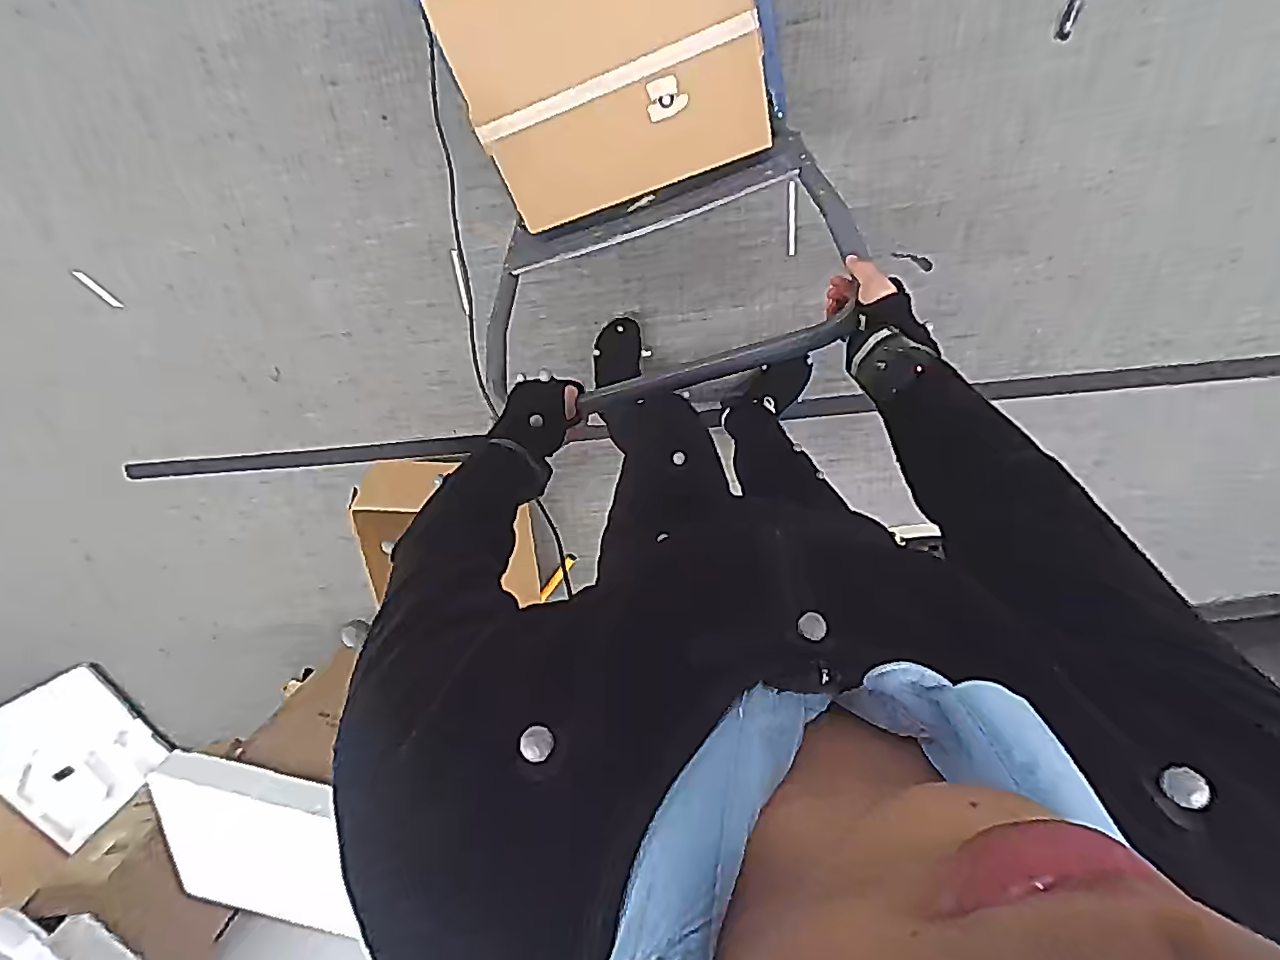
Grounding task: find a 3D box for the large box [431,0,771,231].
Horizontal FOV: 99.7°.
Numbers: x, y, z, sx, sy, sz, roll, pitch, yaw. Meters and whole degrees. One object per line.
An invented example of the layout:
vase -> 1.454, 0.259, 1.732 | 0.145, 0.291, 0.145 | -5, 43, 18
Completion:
large box -> -0.044, -0.669, 0.862 | 0.408, 0.320, 0.320 | -15, 135, 12
